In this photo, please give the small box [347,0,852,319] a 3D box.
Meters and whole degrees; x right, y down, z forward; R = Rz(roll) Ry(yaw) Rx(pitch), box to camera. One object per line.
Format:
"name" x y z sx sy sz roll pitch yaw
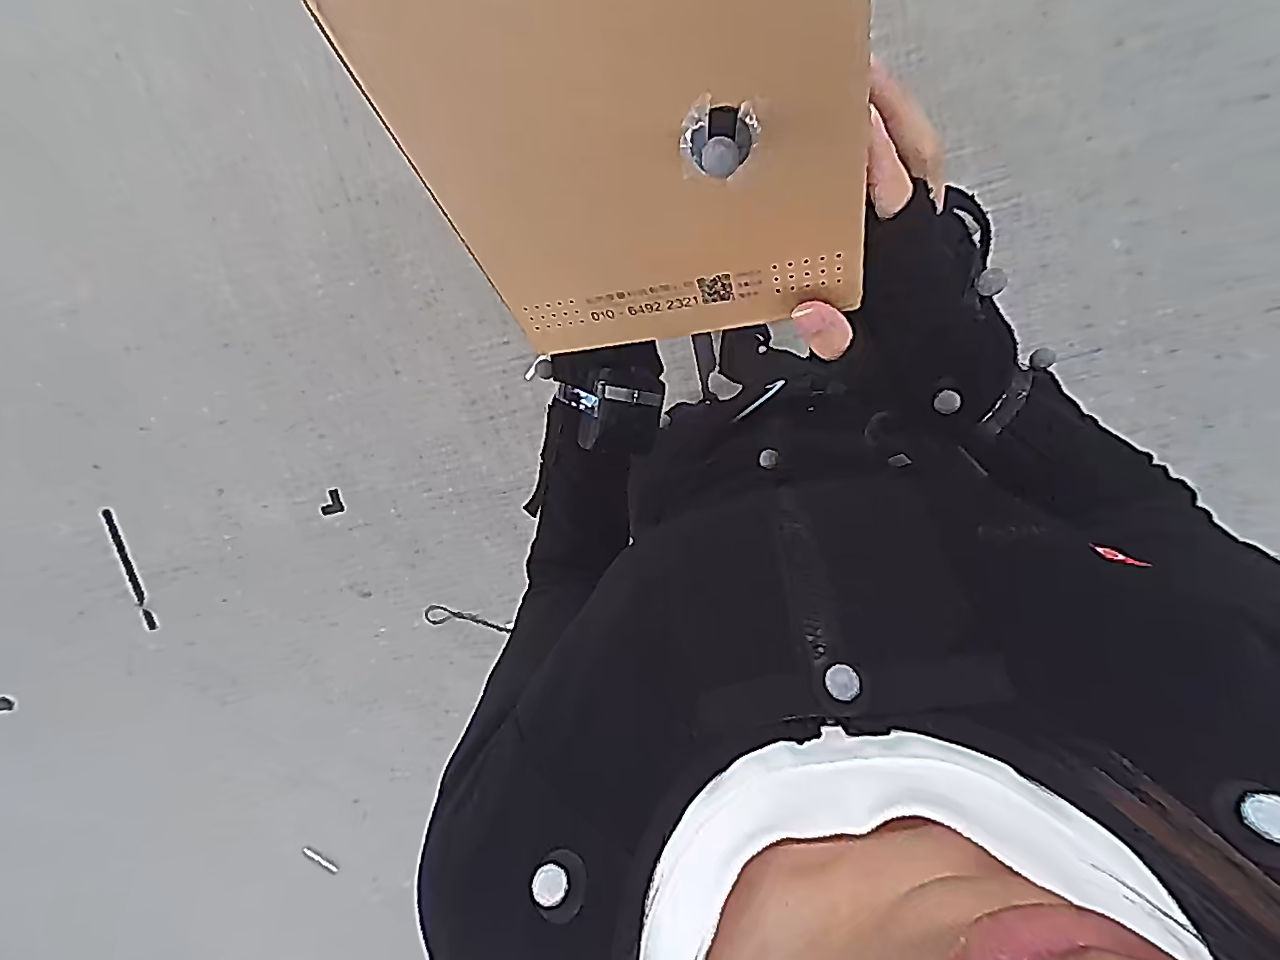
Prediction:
"small box" 0.011 -0.197 0.262 0.168 0.176 0.179 -2 59 19
